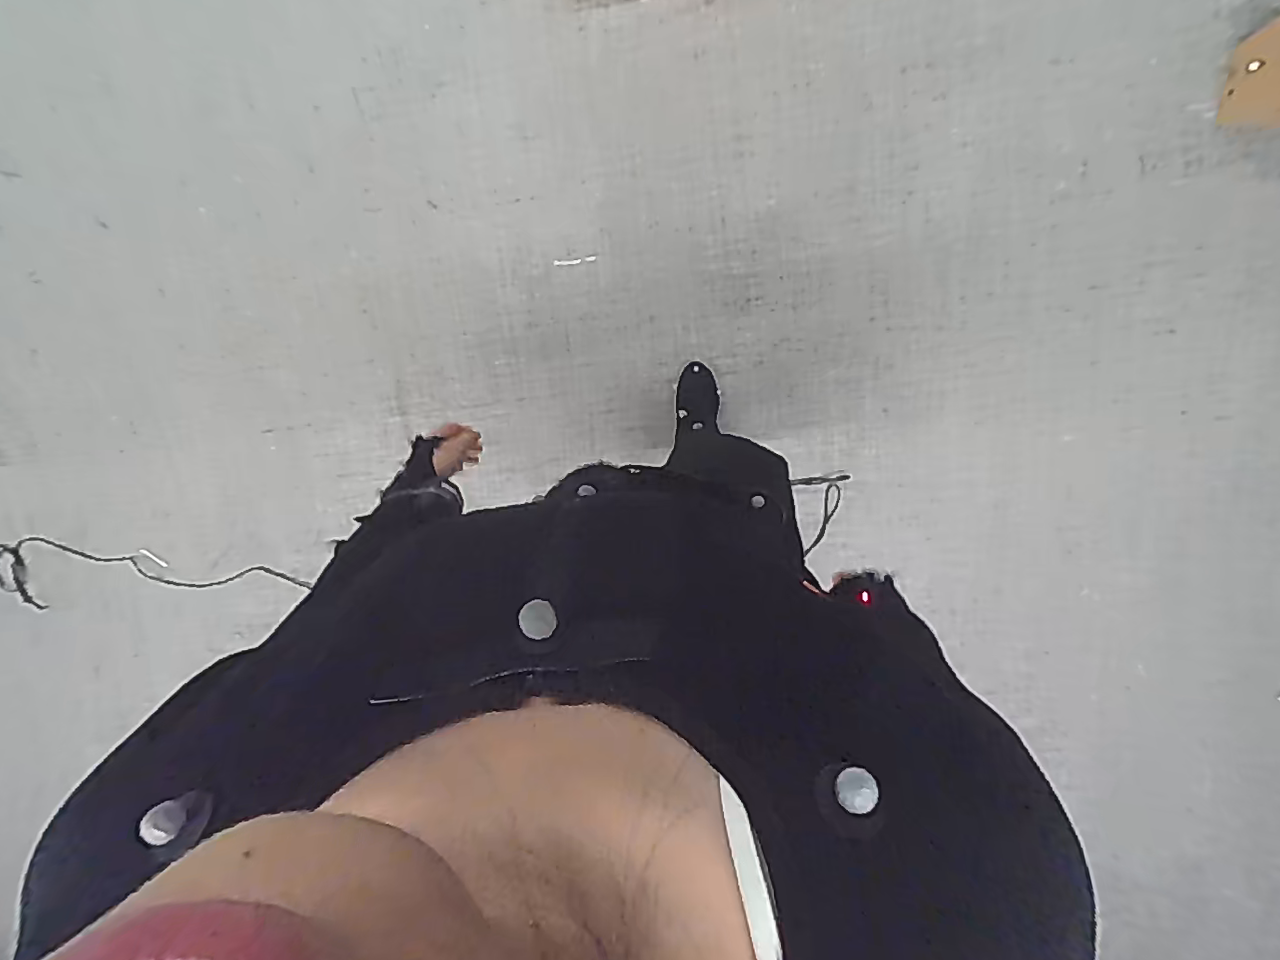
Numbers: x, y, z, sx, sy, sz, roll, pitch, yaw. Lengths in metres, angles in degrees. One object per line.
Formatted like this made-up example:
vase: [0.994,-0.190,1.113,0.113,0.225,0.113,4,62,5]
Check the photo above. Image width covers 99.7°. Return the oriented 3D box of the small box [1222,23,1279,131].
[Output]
small box: [1.397,-0.859,1.130,0.179,0.176,0.168,6,98,5]
